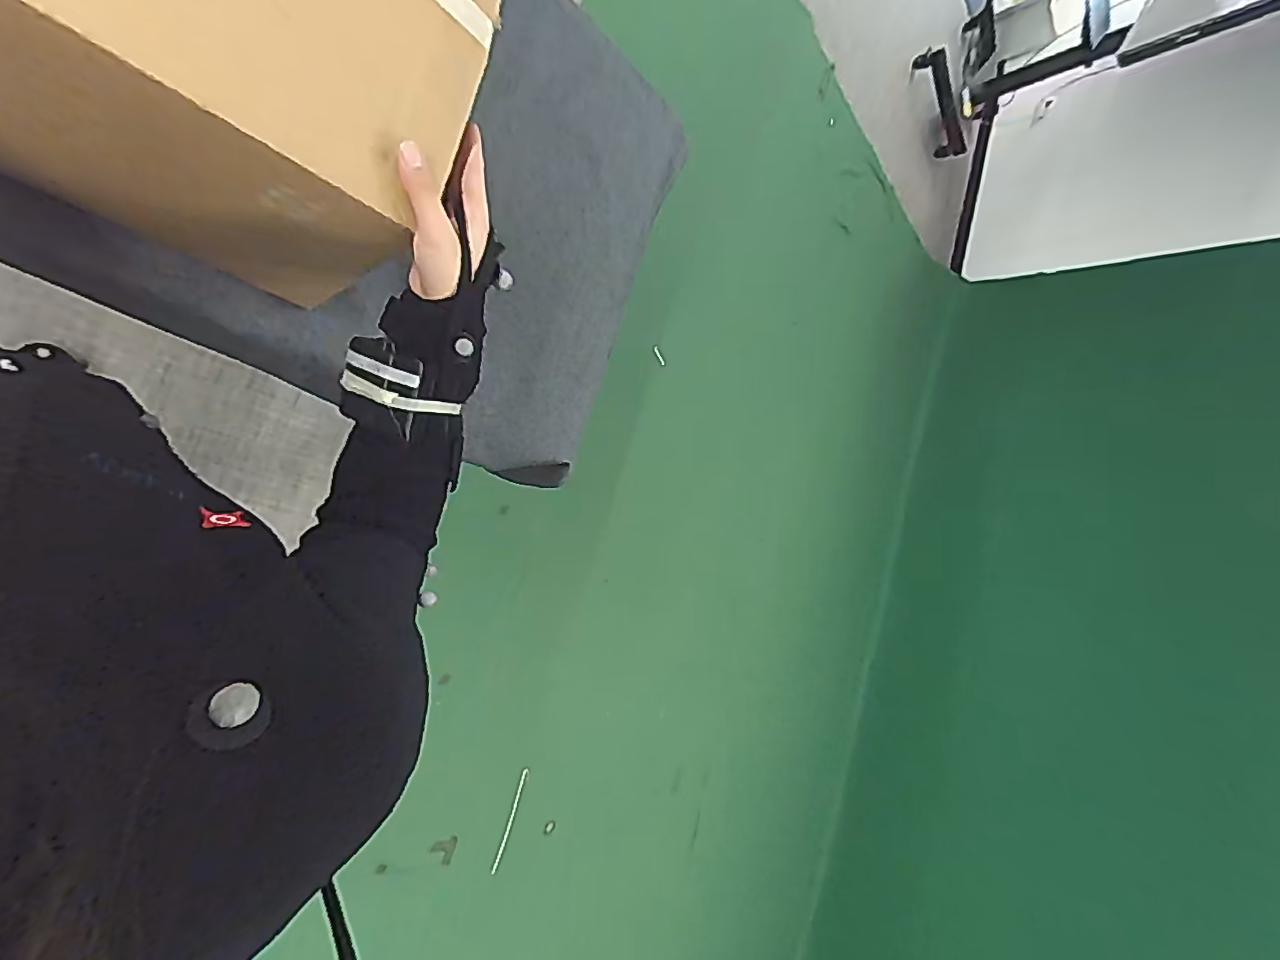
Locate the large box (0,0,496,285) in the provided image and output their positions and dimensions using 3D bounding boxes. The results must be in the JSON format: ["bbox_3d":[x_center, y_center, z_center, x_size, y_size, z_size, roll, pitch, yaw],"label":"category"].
[{"bbox_3d":[-0.353,-0.389,0.362,0.408,0.320,0.320,21,81,-45],"label":"large box"}]
